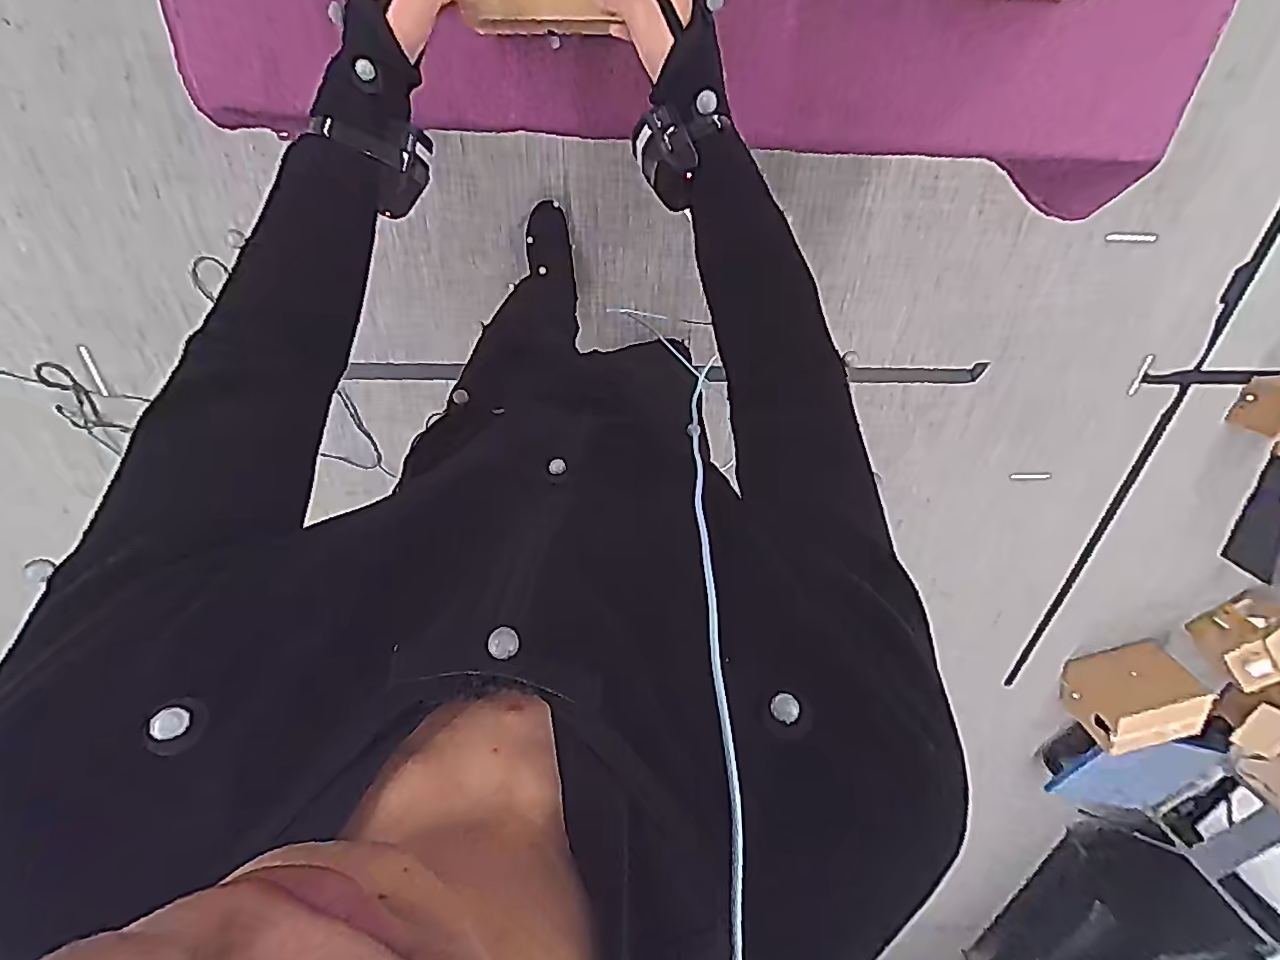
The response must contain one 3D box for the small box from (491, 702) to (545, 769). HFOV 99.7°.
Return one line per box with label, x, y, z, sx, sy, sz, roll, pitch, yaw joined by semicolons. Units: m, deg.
small box;-0.454;0.957;2.030;0.179;0.176;0.168;1;119;-7
